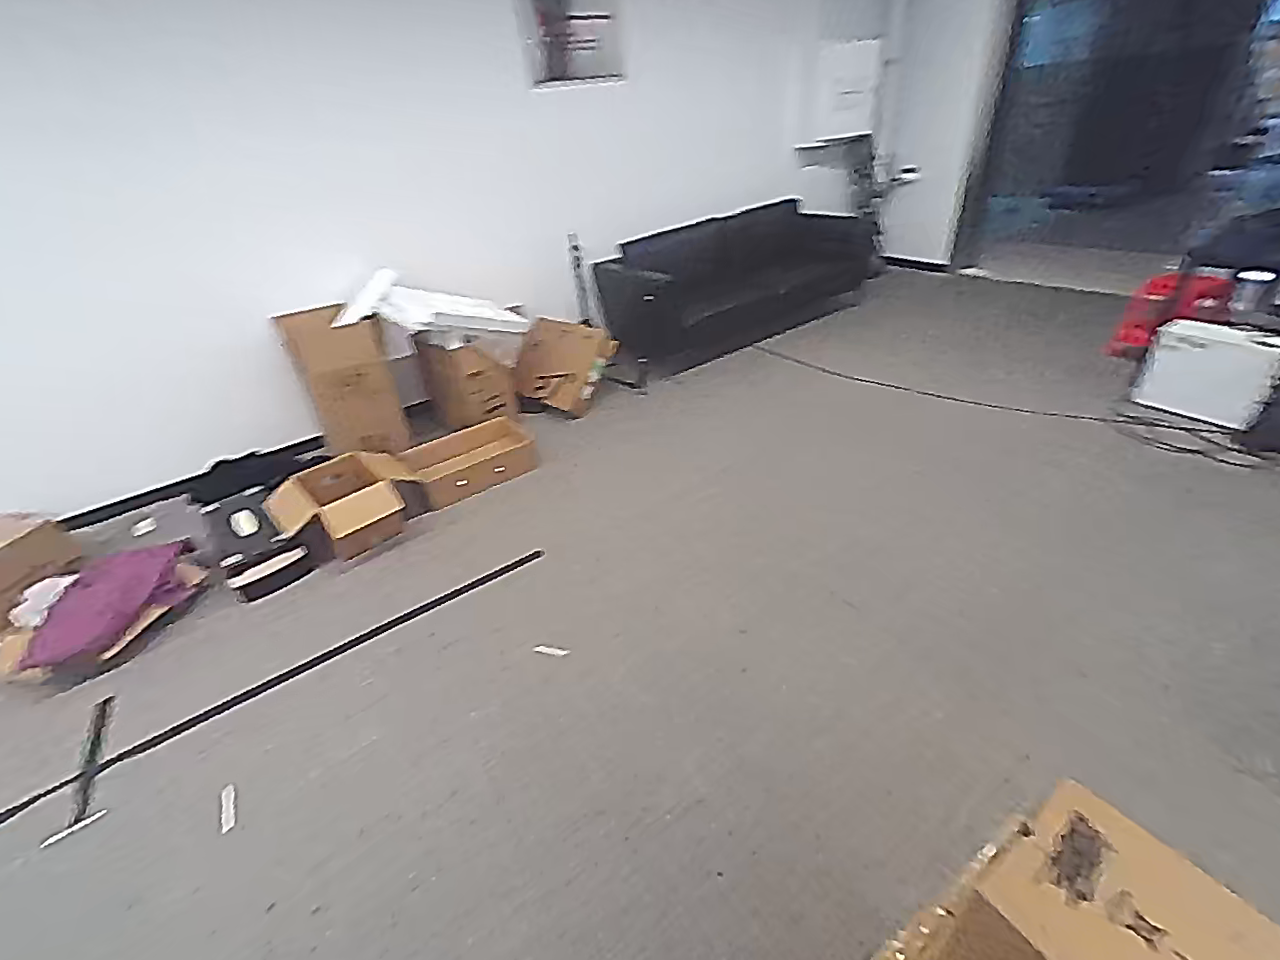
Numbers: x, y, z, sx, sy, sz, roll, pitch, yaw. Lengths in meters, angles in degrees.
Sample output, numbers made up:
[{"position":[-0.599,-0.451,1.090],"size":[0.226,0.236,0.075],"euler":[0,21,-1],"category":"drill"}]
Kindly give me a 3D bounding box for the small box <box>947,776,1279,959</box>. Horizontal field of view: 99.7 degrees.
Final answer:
[{"position":[0.419,0.430,0.497],"size":[0.168,0.176,0.179],"euler":[-26,38,-24],"category":"small box"}]
